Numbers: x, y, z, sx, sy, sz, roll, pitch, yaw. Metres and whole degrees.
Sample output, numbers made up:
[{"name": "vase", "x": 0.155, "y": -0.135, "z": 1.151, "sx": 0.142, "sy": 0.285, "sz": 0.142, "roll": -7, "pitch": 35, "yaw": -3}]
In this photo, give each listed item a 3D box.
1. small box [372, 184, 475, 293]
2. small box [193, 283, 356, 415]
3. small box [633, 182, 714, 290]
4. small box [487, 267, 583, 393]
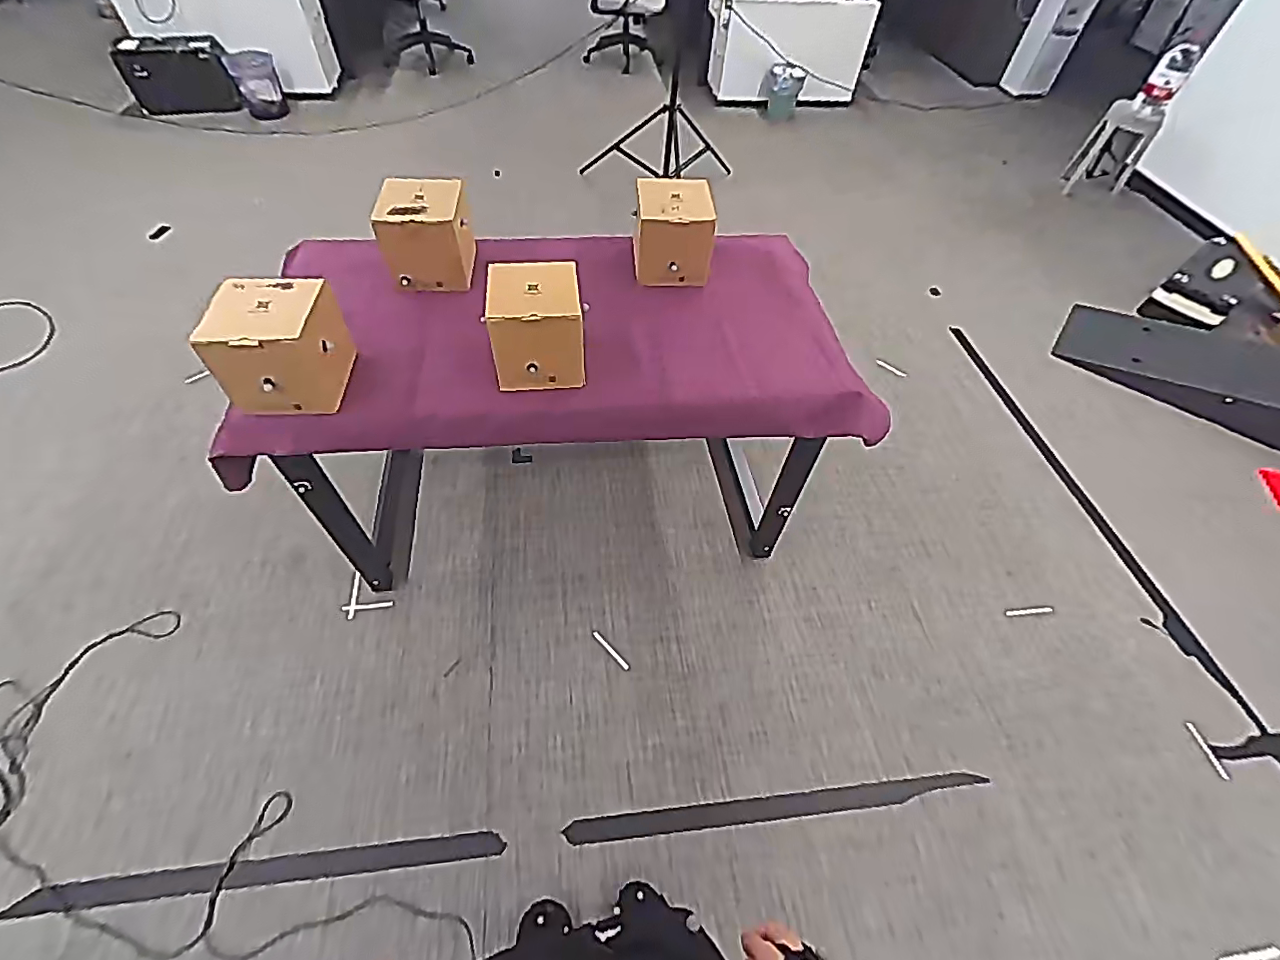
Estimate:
[{"name": "small box", "x": -0.474, "y": -0.537, "z": 1.213, "sx": 0.168, "sy": 0.176, "sz": 0.179, "roll": -2, "pitch": 54, "yaw": -6}, {"name": "small box", "x": -0.636, "y": -0.229, "z": 0.970, "sx": 0.168, "sy": 0.176, "sz": 0.179, "roll": -2, "pitch": 53, "yaw": -7}, {"name": "small box", "x": 0.071, "y": -0.575, "z": 1.277, "sx": 0.168, "sy": 0.176, "sz": 0.179, "roll": -2, "pitch": 56, "yaw": -4}, {"name": "small box", "x": -0.199, "y": -0.291, "z": 1.051, "sx": 0.168, "sy": 0.176, "sz": 0.179, "roll": -5, "pitch": 53, "yaw": -7}]
